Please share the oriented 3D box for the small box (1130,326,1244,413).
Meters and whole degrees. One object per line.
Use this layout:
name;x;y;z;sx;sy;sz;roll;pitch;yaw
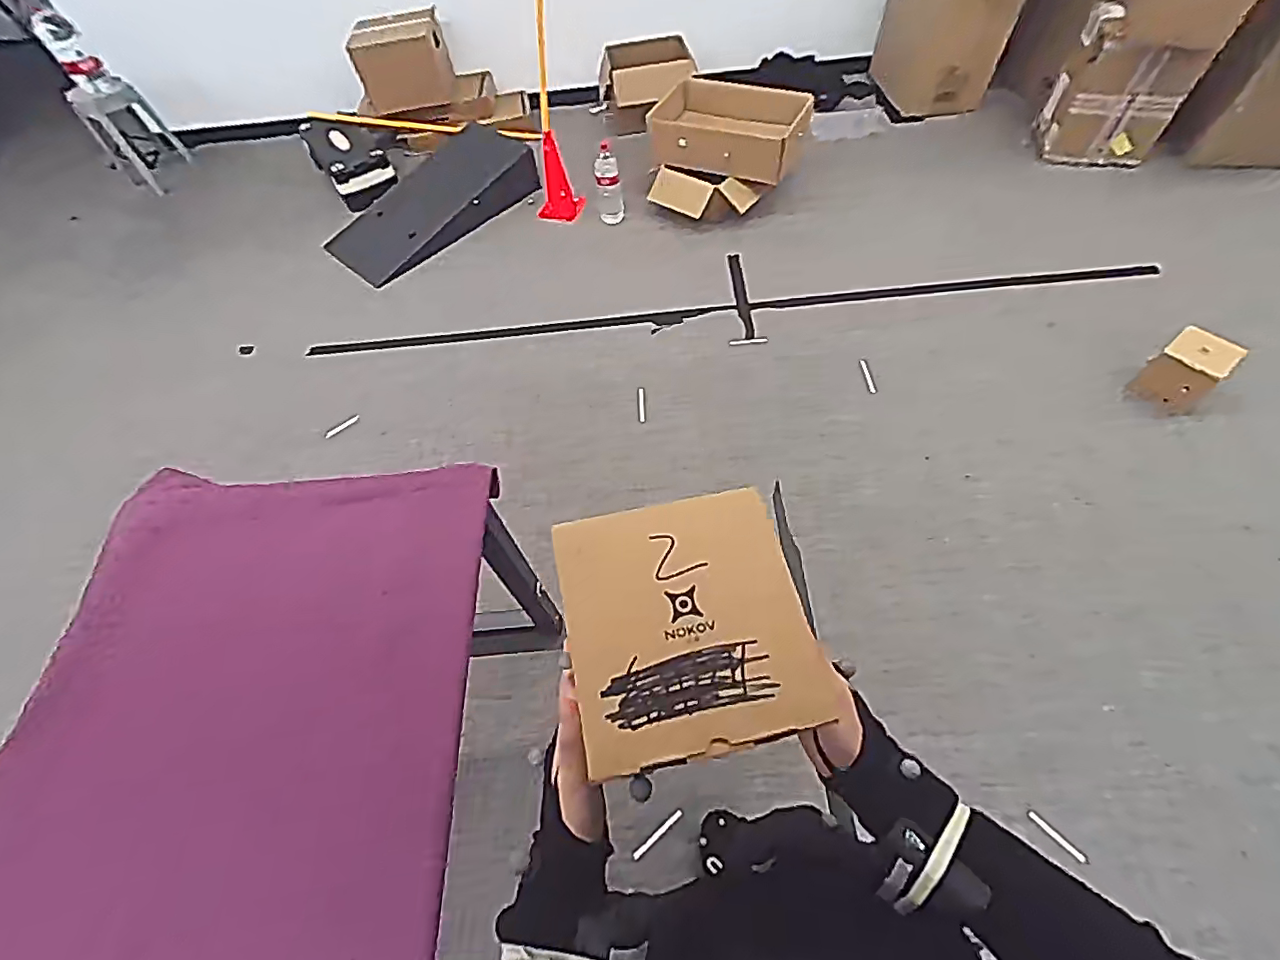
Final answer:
small box;1.718;-0.344;1.712;0.179;0.176;0.168;-36;62;-18
